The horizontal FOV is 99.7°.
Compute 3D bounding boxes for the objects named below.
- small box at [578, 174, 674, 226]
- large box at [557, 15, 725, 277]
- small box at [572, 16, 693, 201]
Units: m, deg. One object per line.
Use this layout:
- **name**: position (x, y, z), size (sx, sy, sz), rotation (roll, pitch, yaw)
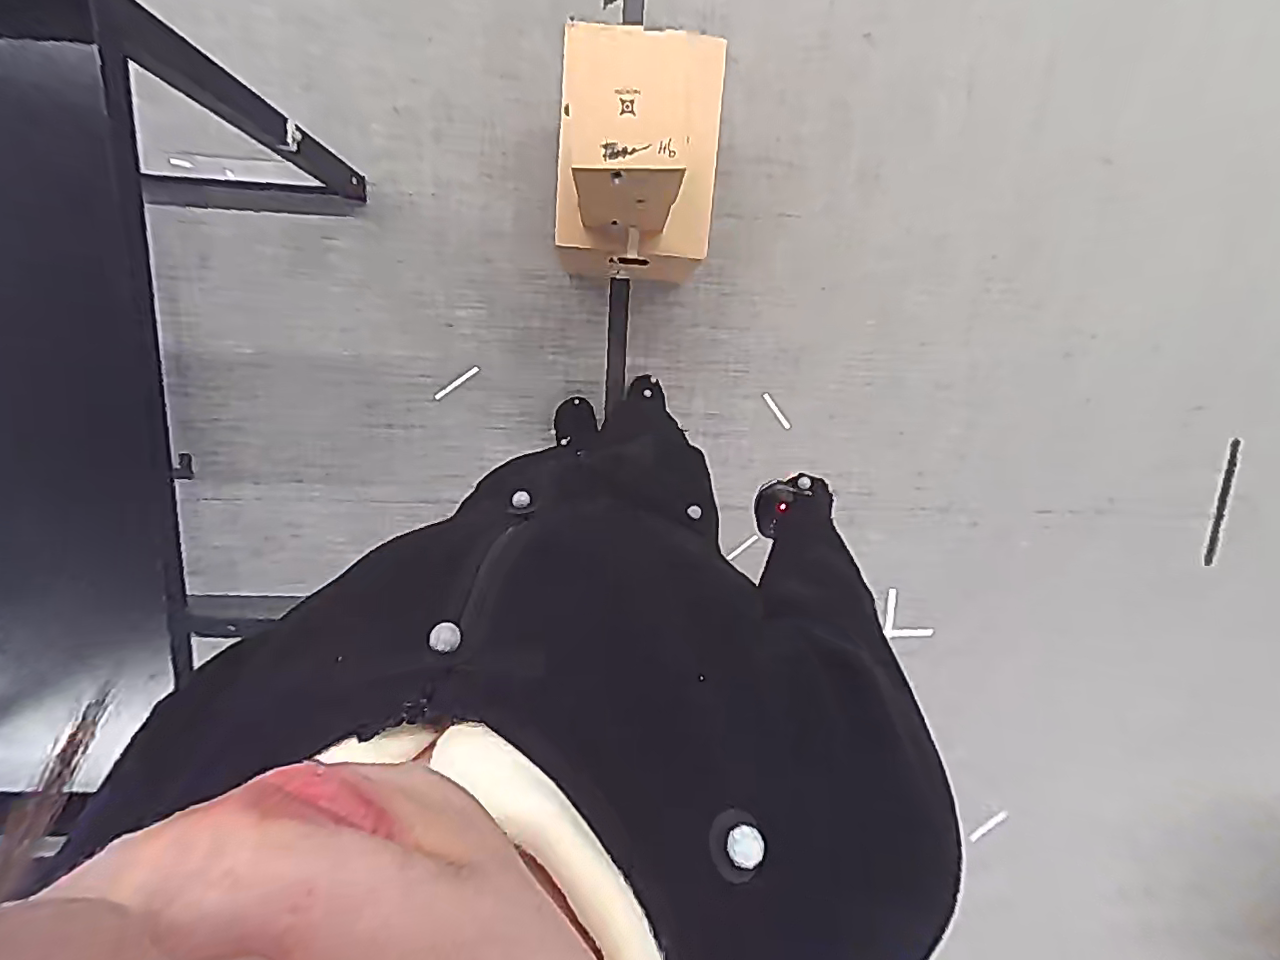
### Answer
- **small box**: position (-0.022, -0.577, 0.971), size (0.168, 0.176, 0.179), rotation (3, 102, -3)
- **large box**: position (-0.010, -0.691, 1.198), size (0.320, 0.320, 0.408), rotation (3, 101, -5)
- **small box**: position (-0.014, -0.542, 0.811), size (0.168, 0.176, 0.179), rotation (0, 101, -2)
